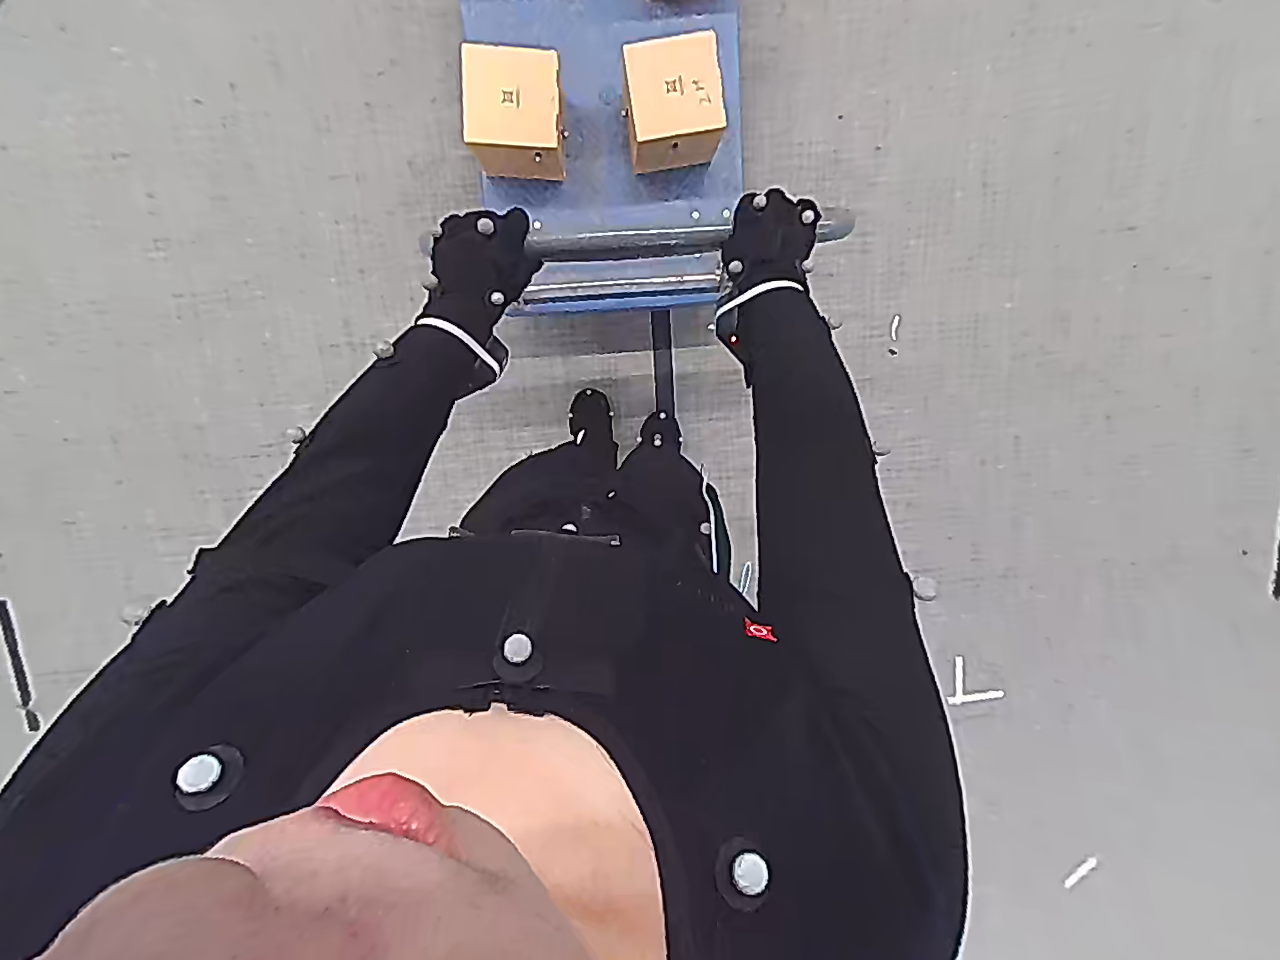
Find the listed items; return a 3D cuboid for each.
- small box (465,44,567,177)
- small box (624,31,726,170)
[{"bbox_3d":[-0.240,-0.725,1.078,0.179,0.176,0.168,1,101,-5],"label":"small box"},{"bbox_3d":[0.065,-0.750,1.089,0.179,0.176,0.168,-10,102,-1],"label":"small box"}]
